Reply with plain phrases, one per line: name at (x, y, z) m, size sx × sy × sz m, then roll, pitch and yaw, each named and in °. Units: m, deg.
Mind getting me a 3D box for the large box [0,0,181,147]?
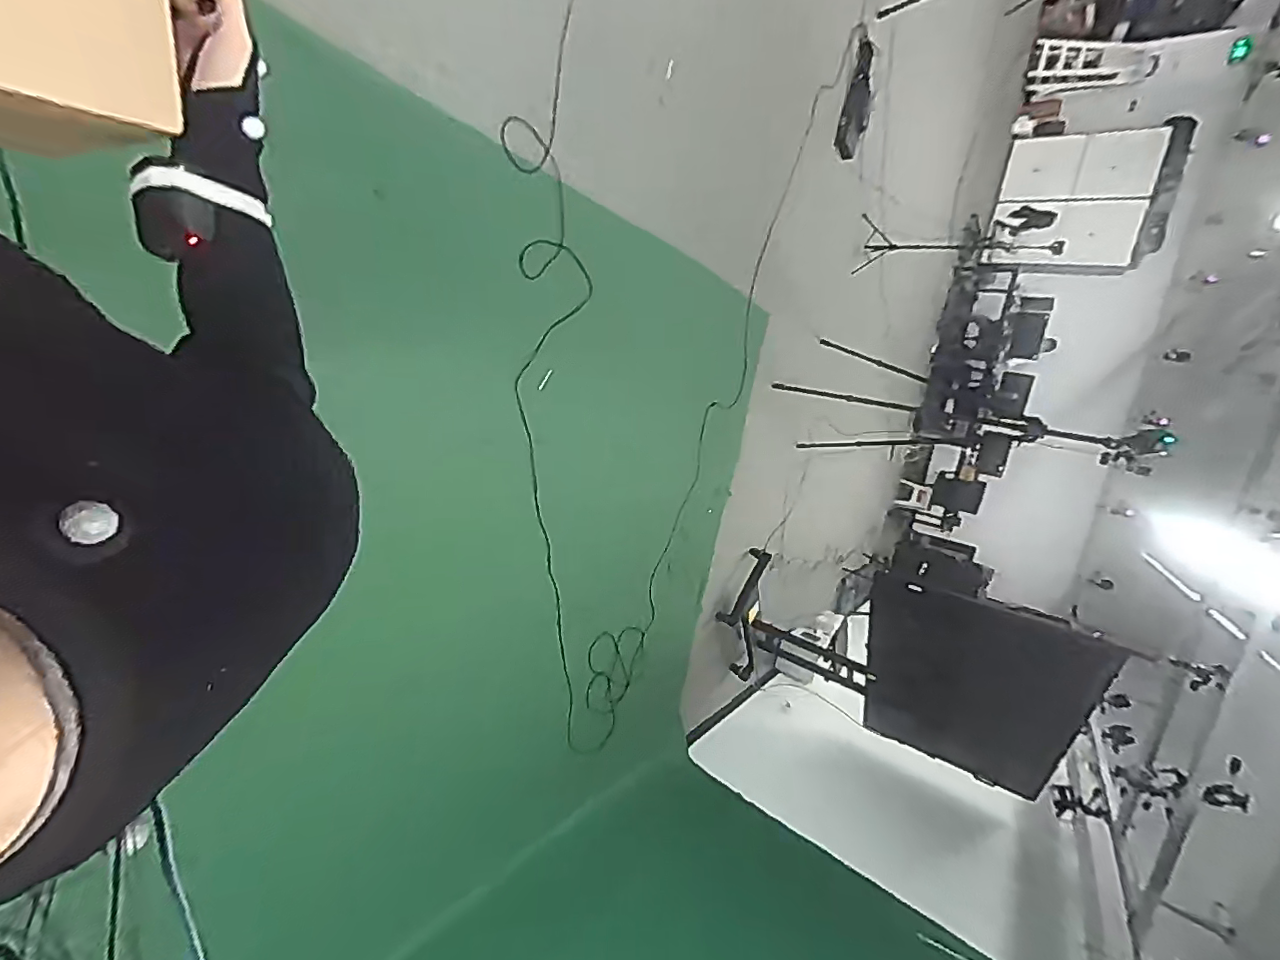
large box at (-0.582, -0.414, 0.299) m, size 0.408 × 0.320 × 0.320 m, roll -21°, pitch 121°, yaw -55°
